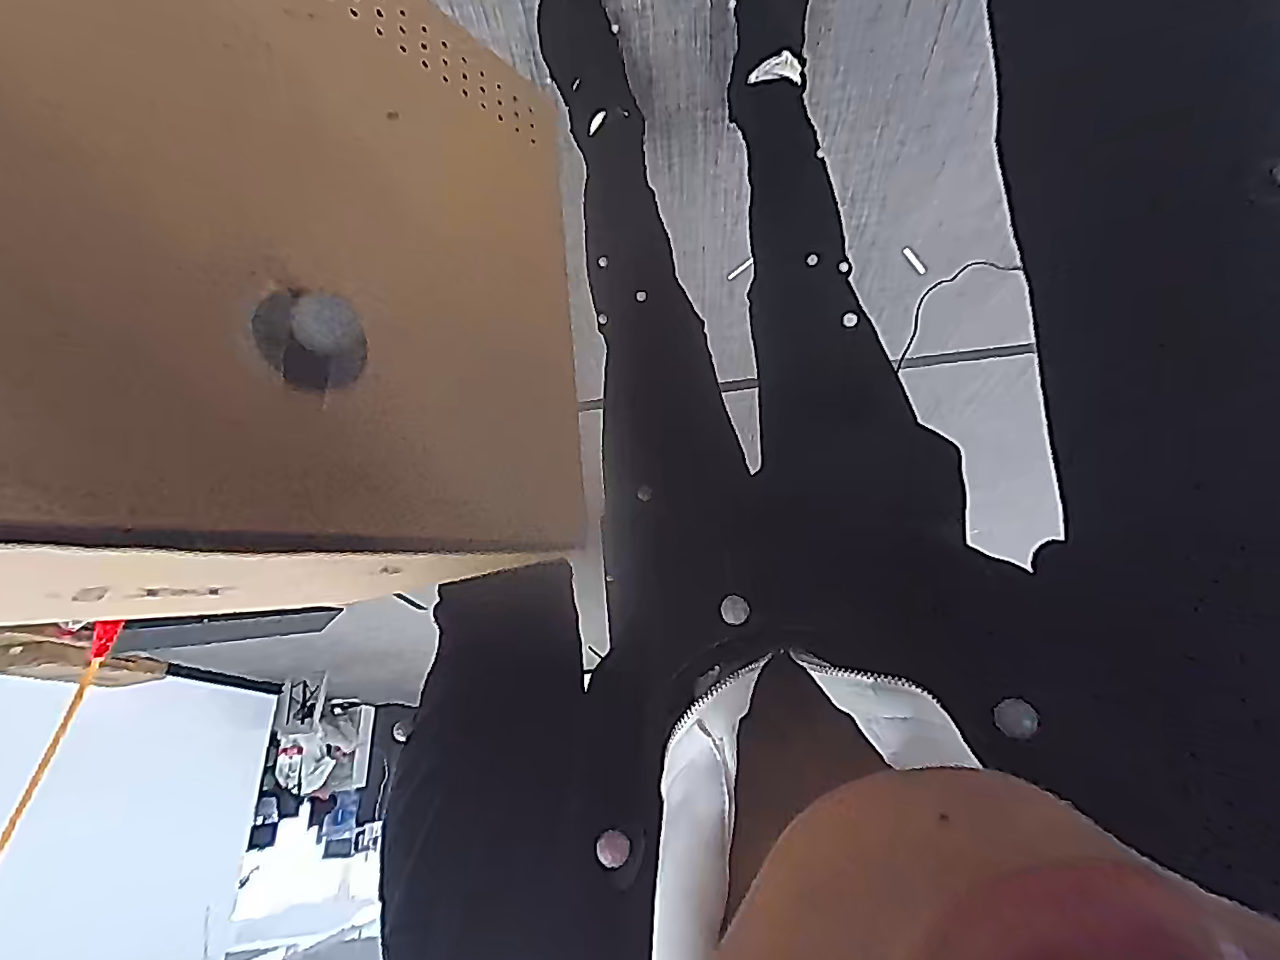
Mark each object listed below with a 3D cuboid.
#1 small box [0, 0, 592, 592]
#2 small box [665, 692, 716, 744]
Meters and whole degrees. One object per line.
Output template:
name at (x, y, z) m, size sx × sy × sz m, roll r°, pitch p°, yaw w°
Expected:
small box at (-0.137, -0.059, 0.177) m, size 0.168 × 0.176 × 0.179 m, roll -18°, pitch 161°, yaw 38°
small box at (0.197, 0.941, 2.138) m, size 0.179 × 0.176 × 0.168 m, roll -7°, pitch 152°, yaw 1°
